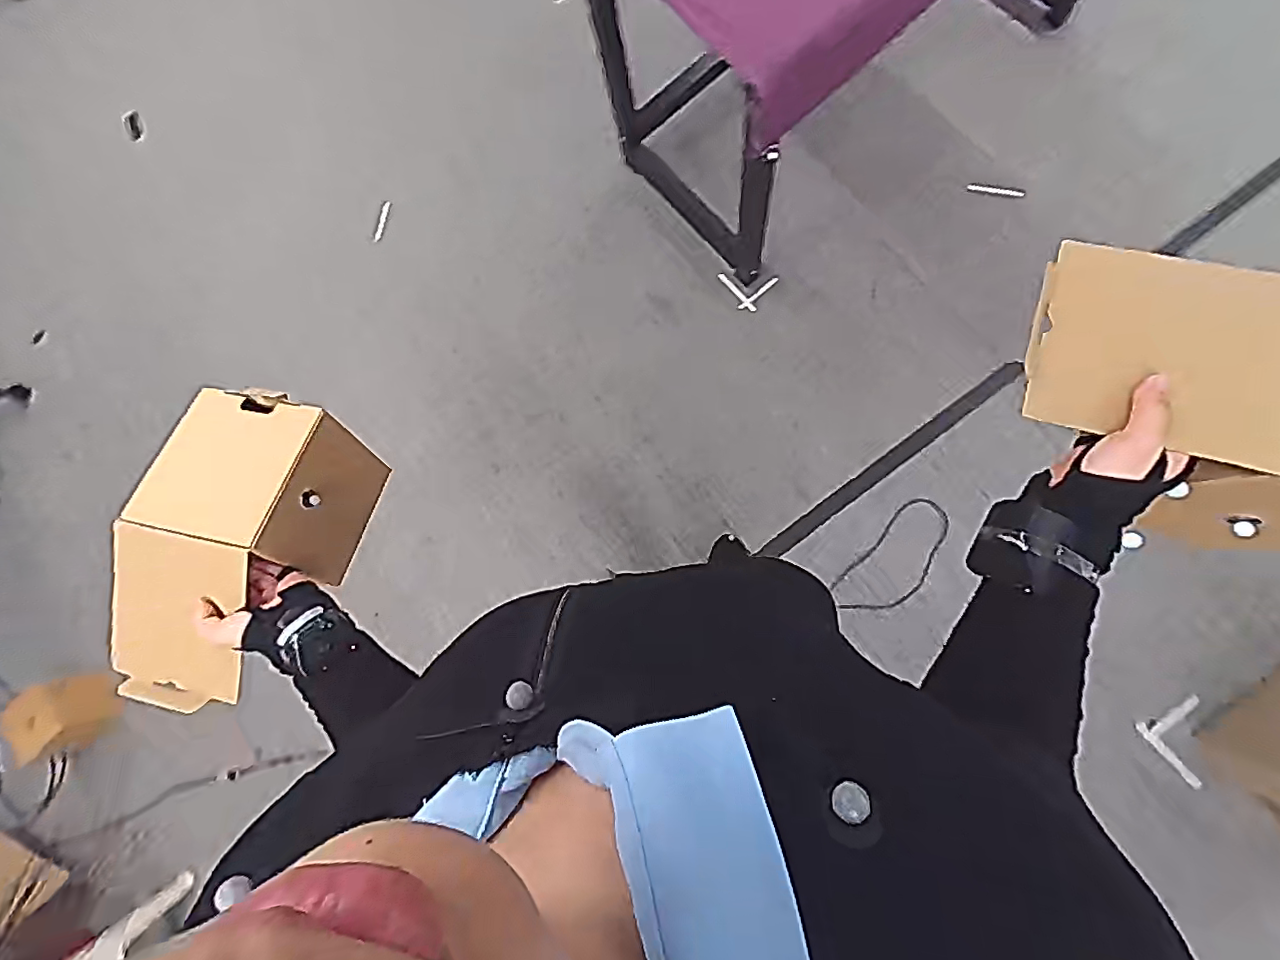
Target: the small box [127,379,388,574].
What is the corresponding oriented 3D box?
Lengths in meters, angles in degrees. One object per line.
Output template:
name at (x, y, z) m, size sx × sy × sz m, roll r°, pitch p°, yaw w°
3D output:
small box at (-0.451, 0.004, 0.676) m, size 0.168 × 0.176 × 0.179 m, roll 12°, pitch 66°, yaw 8°
